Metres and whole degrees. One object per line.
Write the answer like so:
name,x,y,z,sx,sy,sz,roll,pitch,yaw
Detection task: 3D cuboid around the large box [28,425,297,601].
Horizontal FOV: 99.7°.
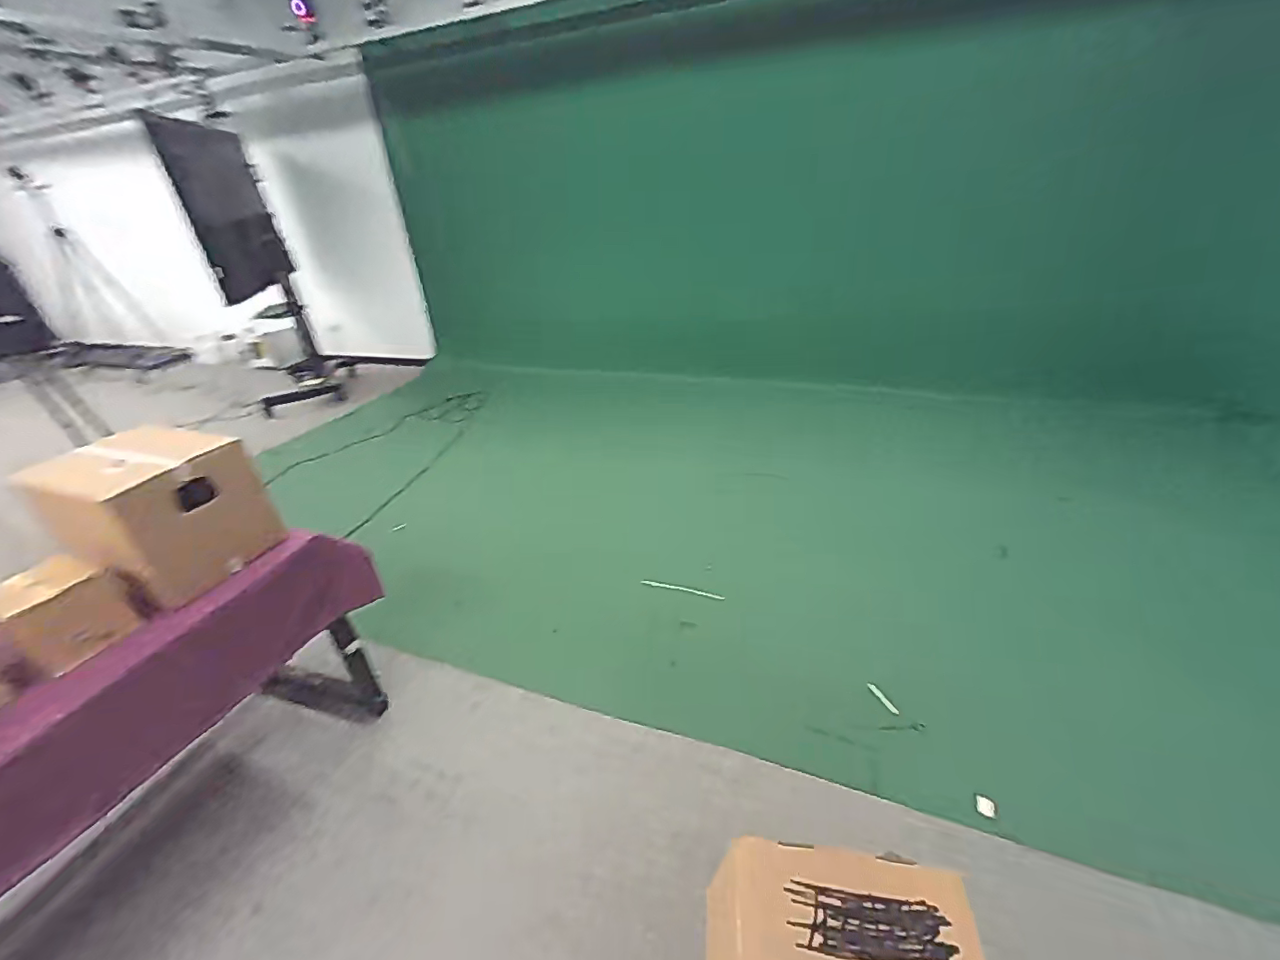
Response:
large box,-1.213,0.071,1.410,0.408,0.320,0.320,9,32,21
